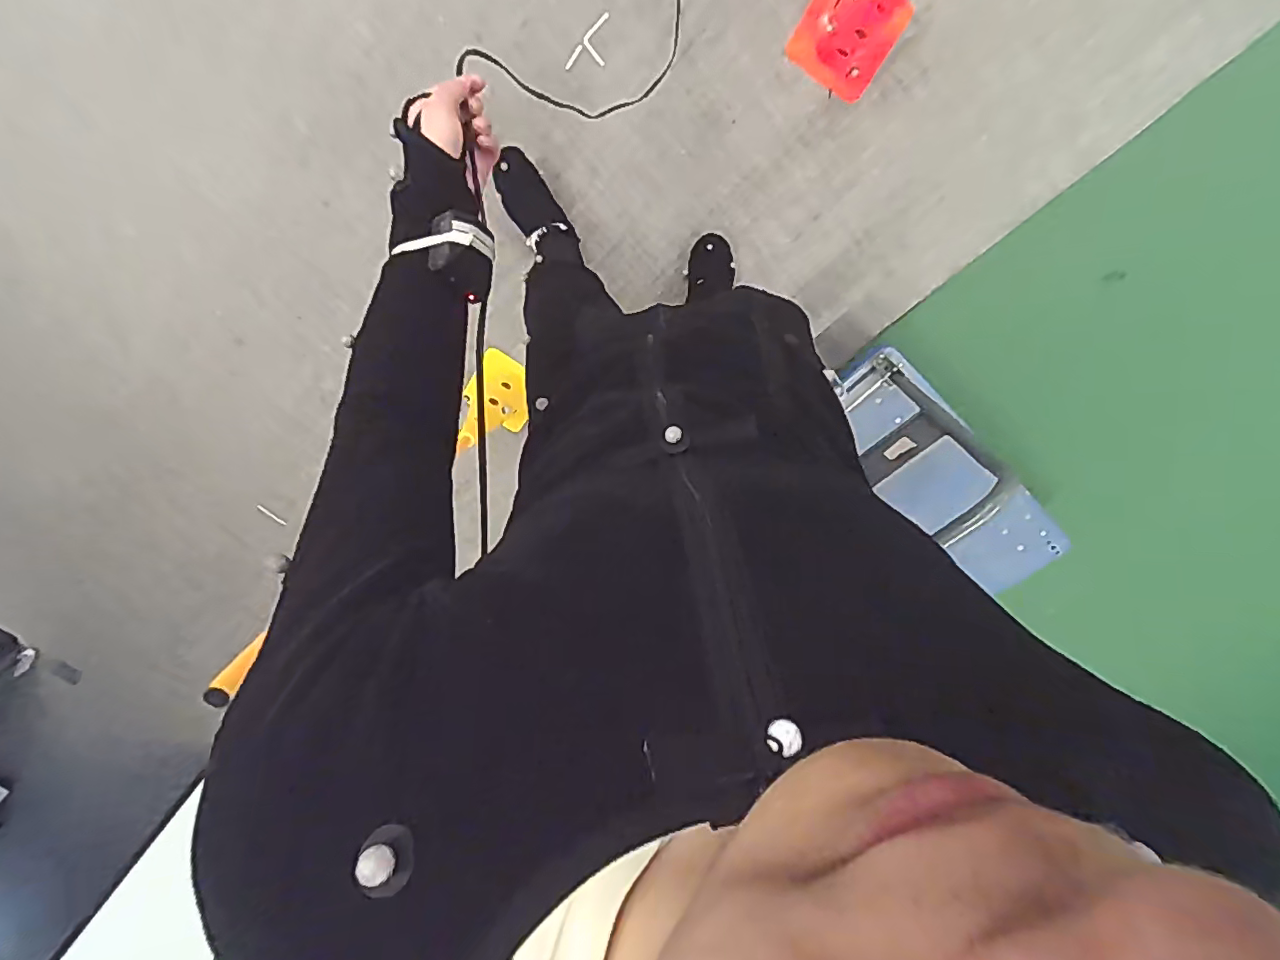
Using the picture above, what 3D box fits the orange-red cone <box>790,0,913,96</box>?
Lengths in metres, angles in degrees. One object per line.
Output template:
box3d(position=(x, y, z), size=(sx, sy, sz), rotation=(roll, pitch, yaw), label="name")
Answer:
box3d(position=(0.440, -0.882, 0.995), size=(0.198, 0.360, 0.199), rotation=(29, 116, -13), label="orange-red cone")
